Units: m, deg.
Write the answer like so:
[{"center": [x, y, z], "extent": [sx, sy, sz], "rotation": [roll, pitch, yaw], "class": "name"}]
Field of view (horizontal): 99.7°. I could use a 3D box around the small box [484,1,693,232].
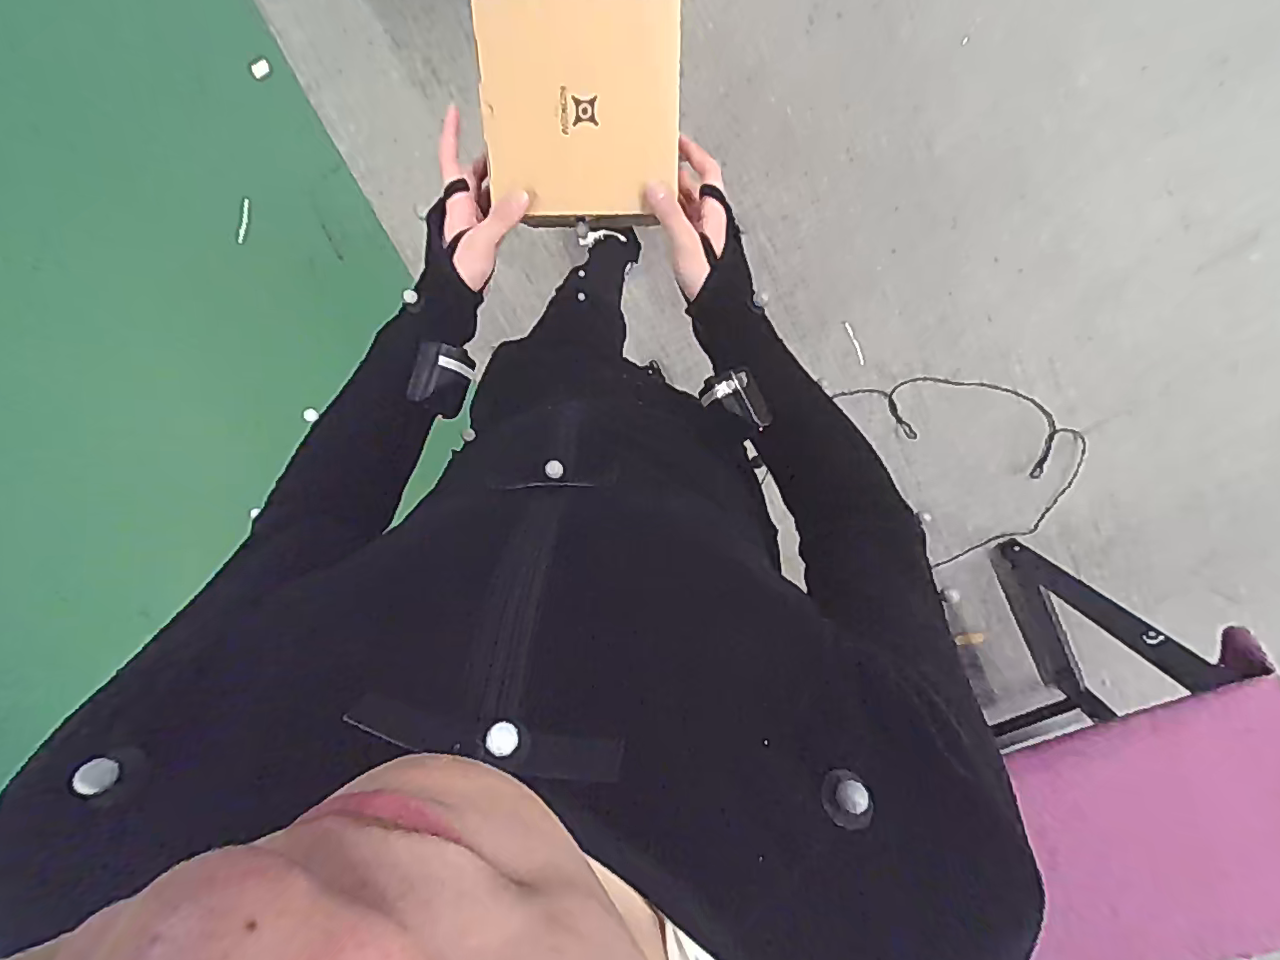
[{"center": [-0.040, -0.347, 0.547], "extent": [0.179, 0.176, 0.168], "rotation": [1, 112, 3], "class": "small box"}]
